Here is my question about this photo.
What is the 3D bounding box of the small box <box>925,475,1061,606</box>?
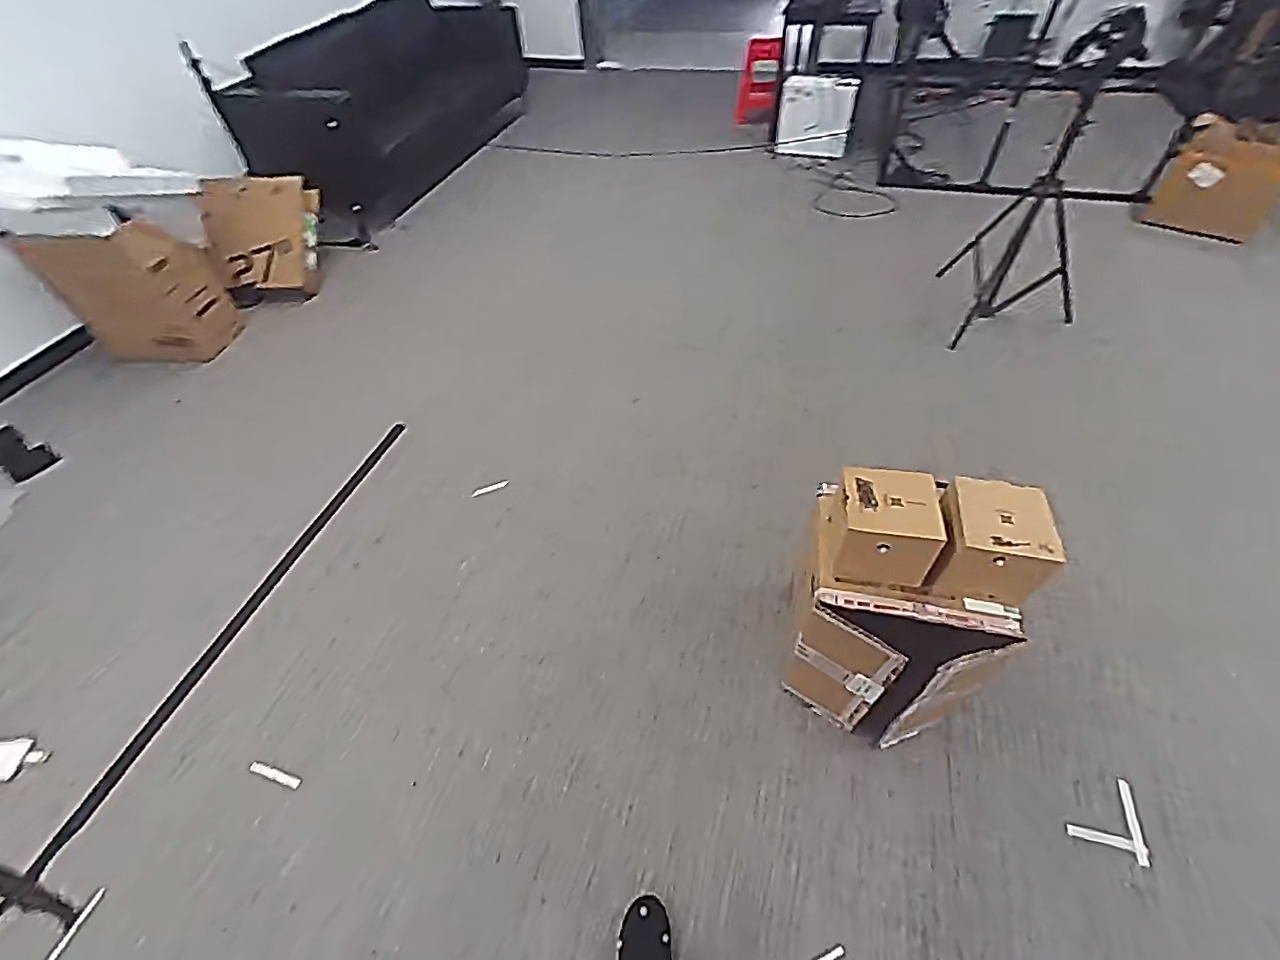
[{"bbox_3d":[0.680,0.120,1.072,0.168,0.176,0.179,10,50,10],"label":"small box"}]

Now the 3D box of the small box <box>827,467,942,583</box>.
[{"bbox_3d":[0.486,0.094,1.106,0.179,0.176,0.168,5,49,10],"label":"small box"}]
